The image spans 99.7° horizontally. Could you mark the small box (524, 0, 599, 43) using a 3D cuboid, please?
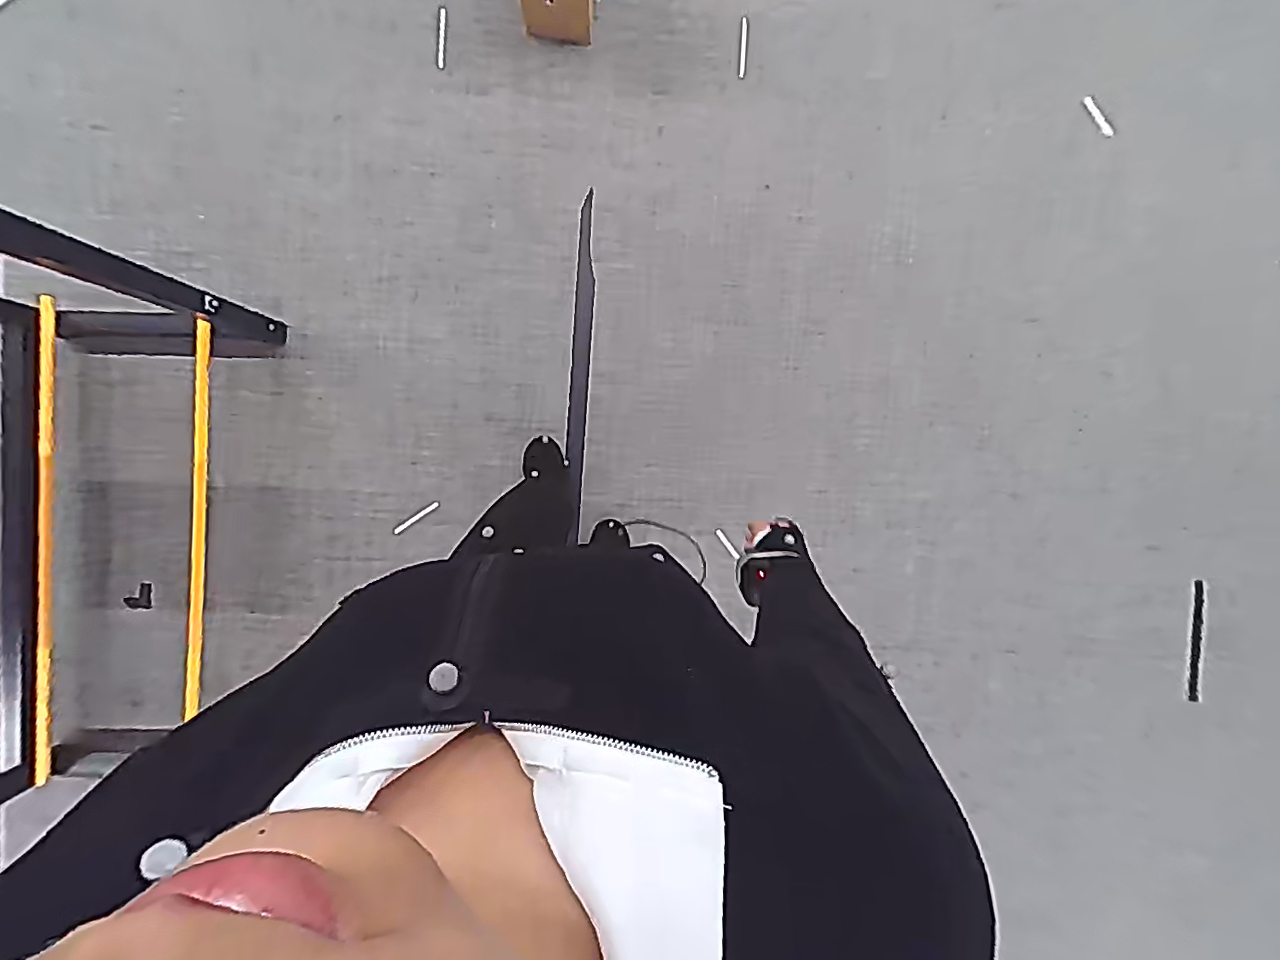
[{"bbox_3d":[-0.197,-1.242,1.350,0.179,0.176,0.168,7,92,-4],"label":"small box"}]
